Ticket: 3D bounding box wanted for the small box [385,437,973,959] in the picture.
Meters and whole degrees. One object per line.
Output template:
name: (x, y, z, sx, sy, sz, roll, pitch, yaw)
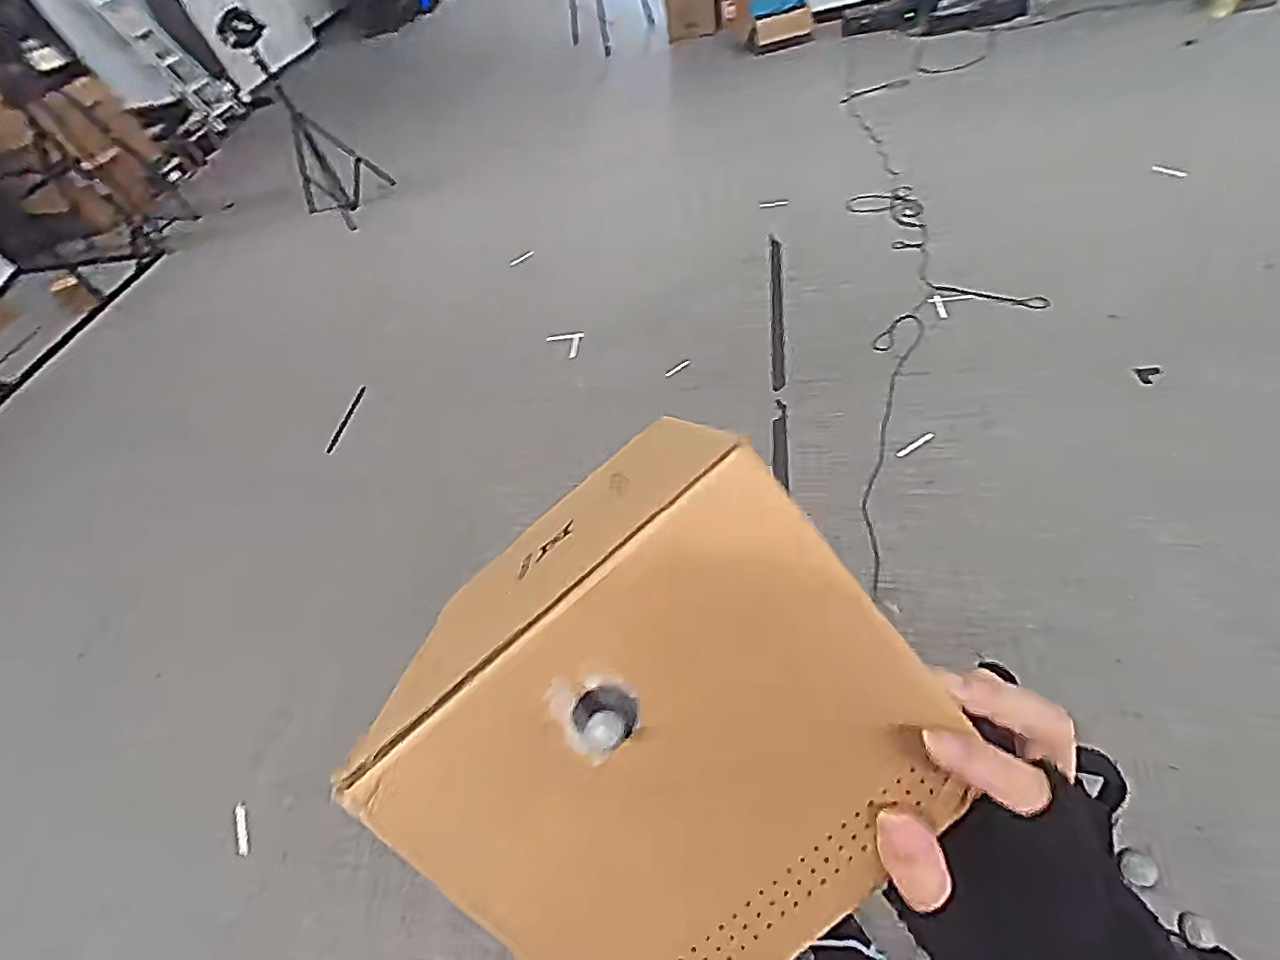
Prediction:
small box: (0.019, 0.100, 0.280, 0.179, 0.176, 0.168, -39, 11, 0)
